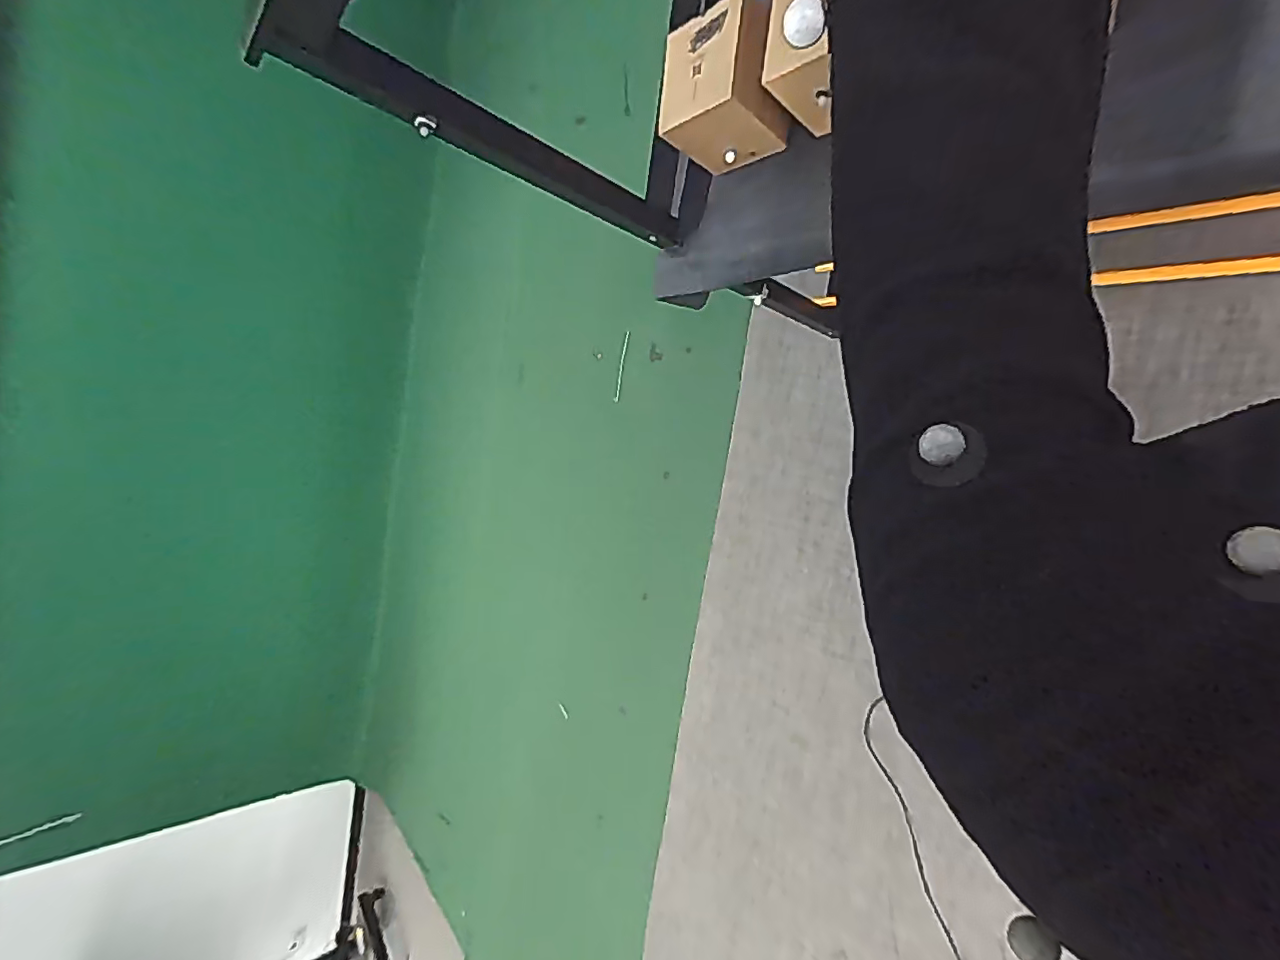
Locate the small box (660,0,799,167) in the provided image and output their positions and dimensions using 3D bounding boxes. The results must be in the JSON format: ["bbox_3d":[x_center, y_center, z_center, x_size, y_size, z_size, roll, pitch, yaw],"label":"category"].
[{"bbox_3d":[0.159,-0.694,0.949,0.168,0.176,0.179,9,94,47],"label":"small box"}]
